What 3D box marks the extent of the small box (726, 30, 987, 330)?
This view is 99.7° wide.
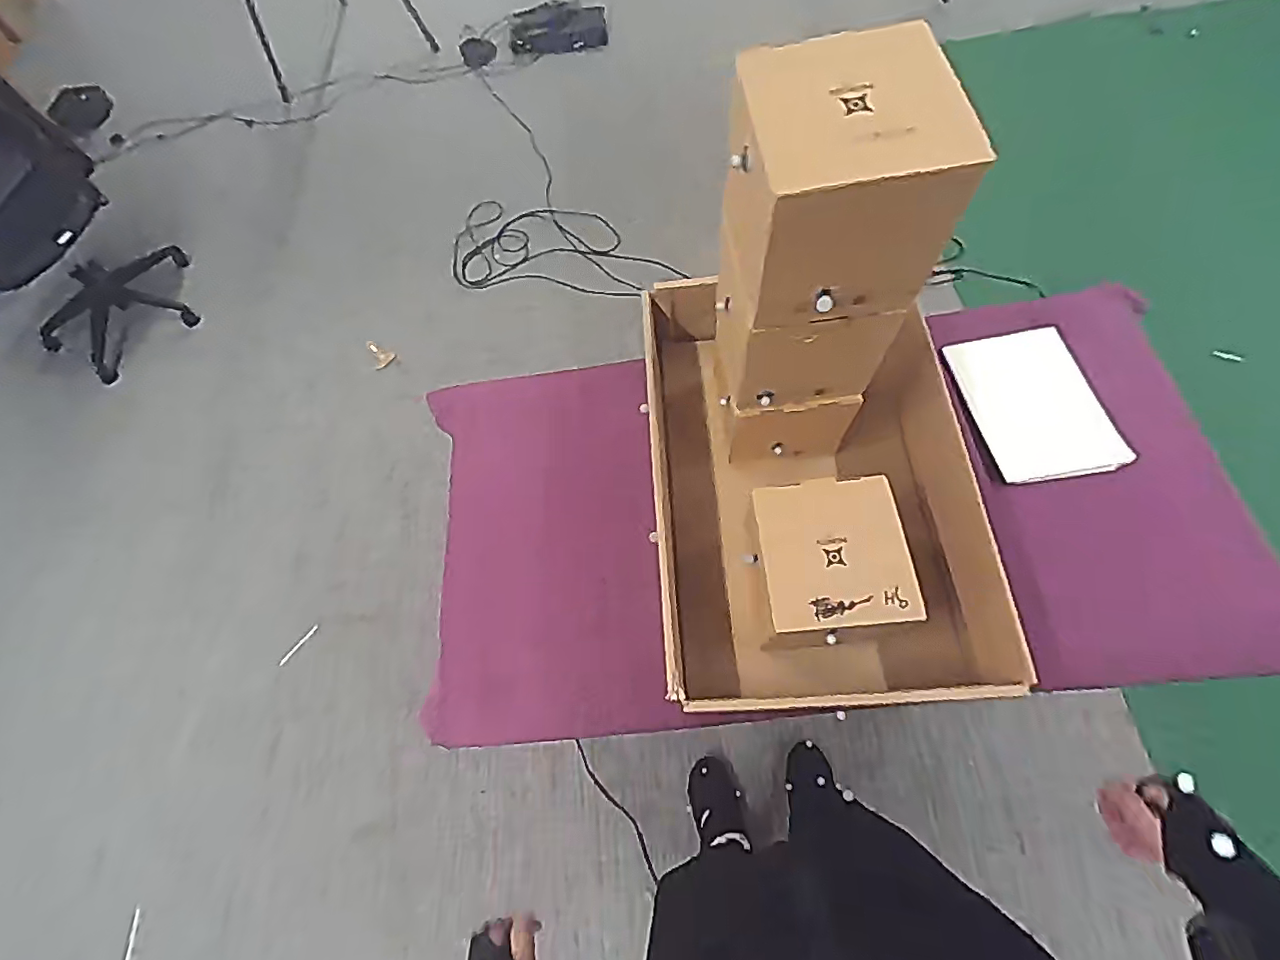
[{"bbox_3d":[0.178,-0.270,0.512,0.168,0.176,0.179,-7,68,3],"label":"small box"}]

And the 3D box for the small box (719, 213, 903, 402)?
[{"bbox_3d":[0.191,-0.209,0.662,0.168,0.176,0.179,-7,67,2],"label":"small box"}]

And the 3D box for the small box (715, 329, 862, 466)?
[{"bbox_3d":[0.207,-0.139,0.810,0.168,0.176,0.179,-7,68,3],"label":"small box"}]
